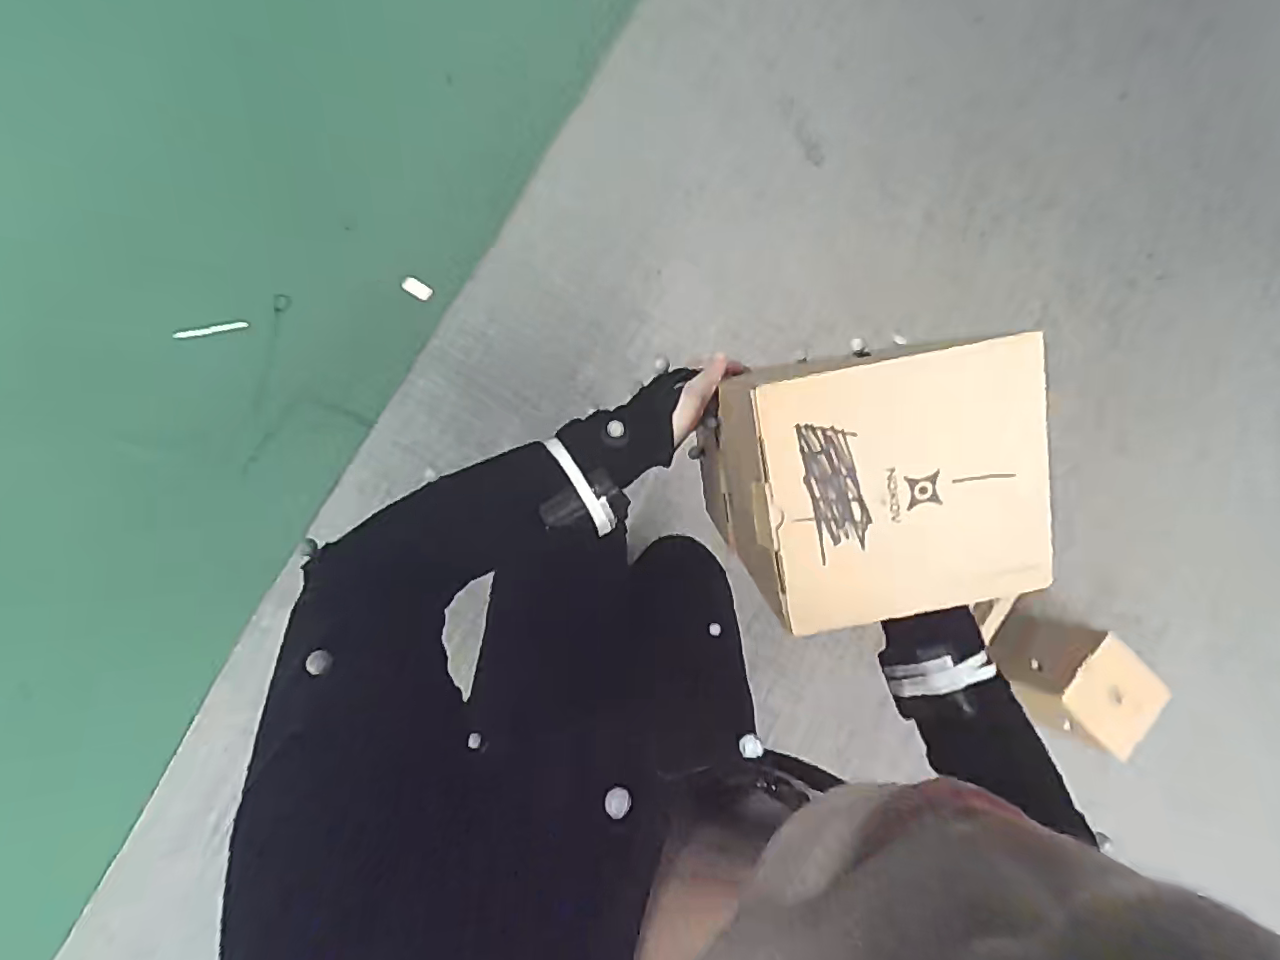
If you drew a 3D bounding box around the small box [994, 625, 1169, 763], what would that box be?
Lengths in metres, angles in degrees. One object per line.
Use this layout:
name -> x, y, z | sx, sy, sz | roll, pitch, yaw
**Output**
small box -> 0.857, 0.406, 1.069 | 0.179, 0.176, 0.168 | 45, 83, -3
